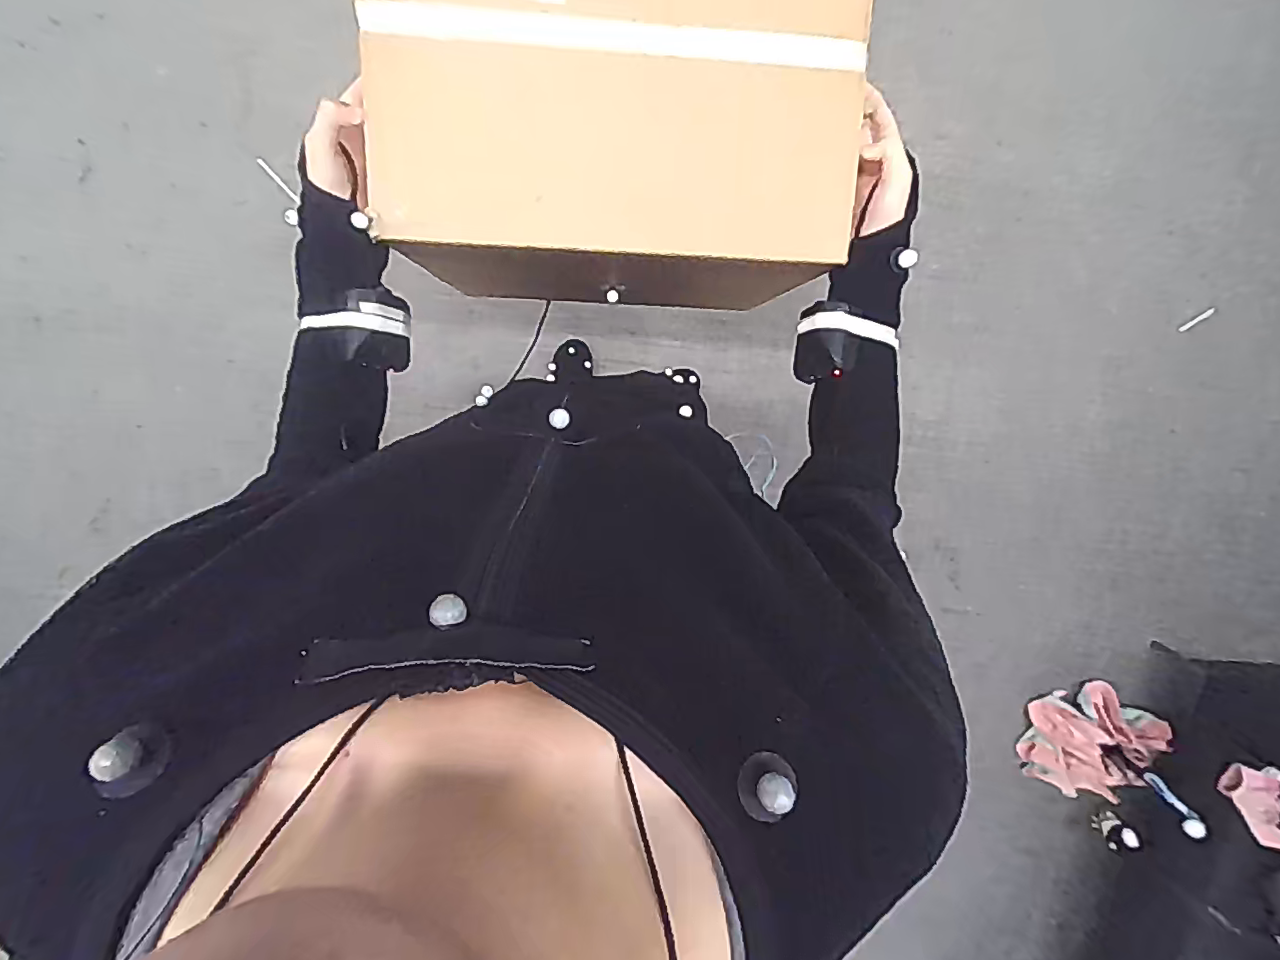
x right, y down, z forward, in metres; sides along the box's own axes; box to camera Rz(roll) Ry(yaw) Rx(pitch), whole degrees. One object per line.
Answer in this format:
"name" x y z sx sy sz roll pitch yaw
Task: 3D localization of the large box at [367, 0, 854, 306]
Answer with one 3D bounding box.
"large box" -0.028 -0.371 0.594 0.408 0.320 0.320 1 99 -4
